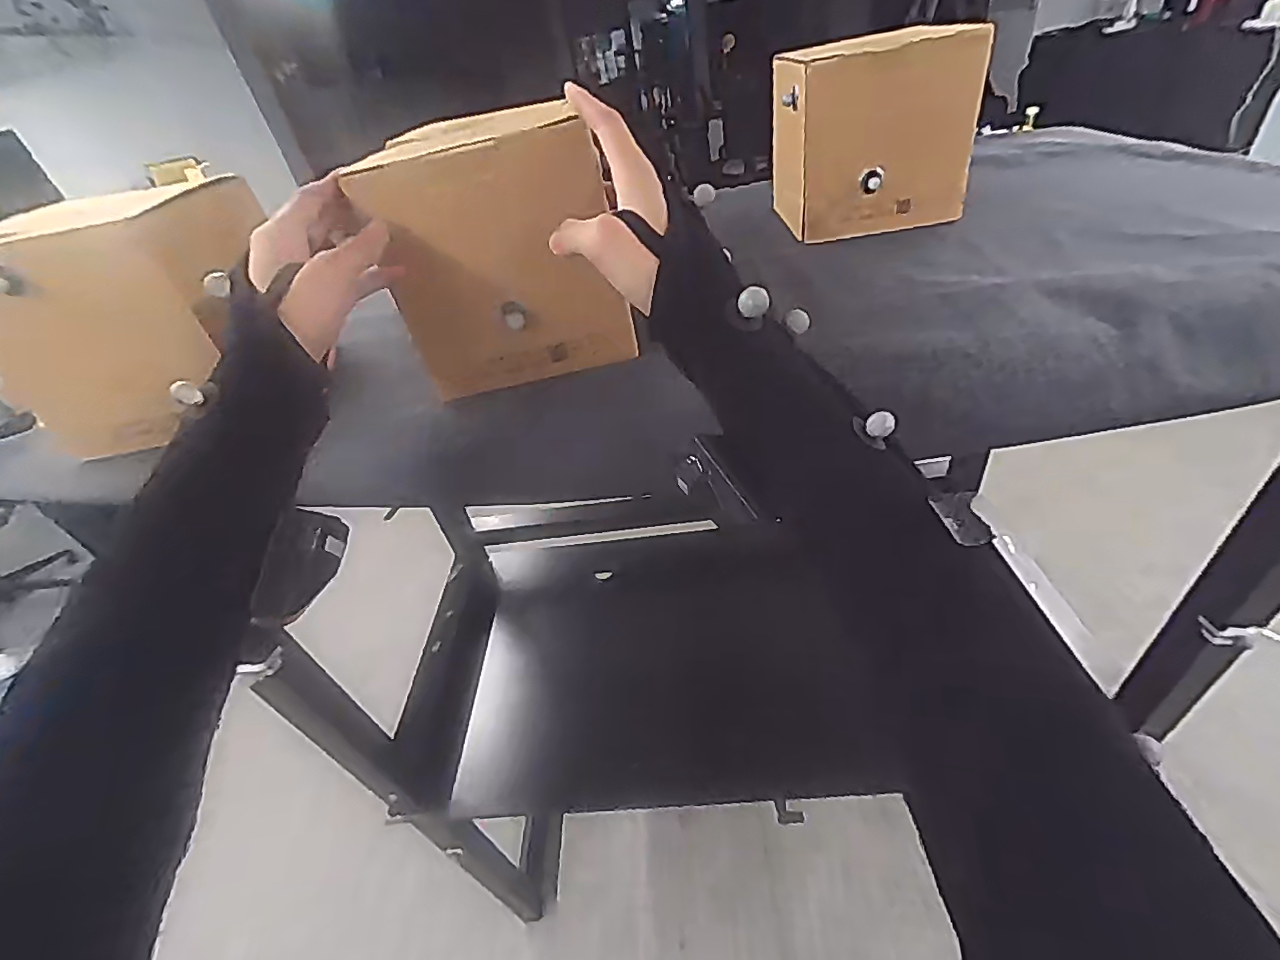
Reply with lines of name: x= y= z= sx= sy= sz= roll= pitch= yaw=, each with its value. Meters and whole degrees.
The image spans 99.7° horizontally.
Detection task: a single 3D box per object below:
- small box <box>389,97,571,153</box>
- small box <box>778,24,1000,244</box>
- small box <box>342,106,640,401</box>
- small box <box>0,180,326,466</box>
small box: x=-0.151 y=-0.322 z=0.630 sx=0.168 sy=0.176 sz=0.179 roll=-5 pitch=40 yaw=7
small box: x=0.249 y=-0.377 z=0.596 sx=0.168 sy=0.176 sz=0.179 roll=-7 pitch=40 yaw=6
small box: x=-0.099 y=-0.188 z=0.447 sx=0.168 sy=0.176 sz=0.179 roll=-12 pitch=38 yaw=3
small box: x=-0.408 y=-0.137 z=0.465 sx=0.168 sy=0.176 sz=0.179 roll=-12 pitch=38 yaw=0
